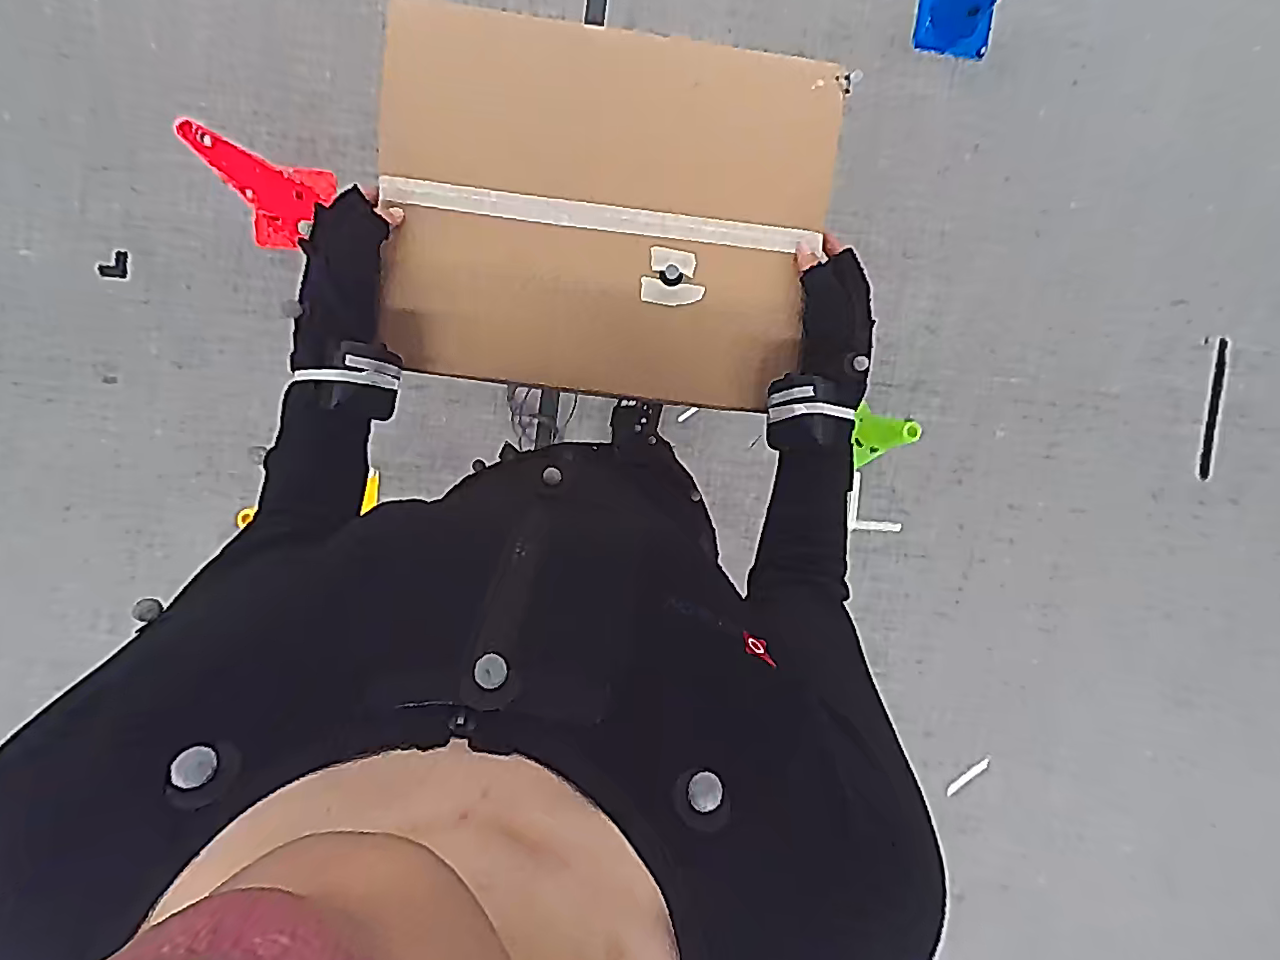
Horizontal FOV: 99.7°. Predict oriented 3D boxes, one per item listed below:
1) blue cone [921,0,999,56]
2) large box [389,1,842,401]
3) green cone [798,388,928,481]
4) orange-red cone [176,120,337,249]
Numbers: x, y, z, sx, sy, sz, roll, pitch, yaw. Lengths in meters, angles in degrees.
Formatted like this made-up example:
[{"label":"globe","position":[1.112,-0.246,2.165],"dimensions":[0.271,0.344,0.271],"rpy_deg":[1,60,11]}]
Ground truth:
[{"label":"blue cone","position":[0.843,-1.208,1.249],"dimensions":[0.192,0.380,0.193],"rpy_deg":[10,94,-4]},{"label":"large box","position":[-0.035,-0.270,0.647],"dimensions":[0.408,0.320,0.320],"rpy_deg":[6,98,-4]},{"label":"green cone","position":[0.562,-0.113,1.295],"dimensions":[0.202,0.368,0.200],"rpy_deg":[-31,95,-2]},{"label":"orange-red cone","position":[-0.865,-0.678,1.200],"dimensions":[0.198,0.360,0.199],"rpy_deg":[4,95,-2]}]
